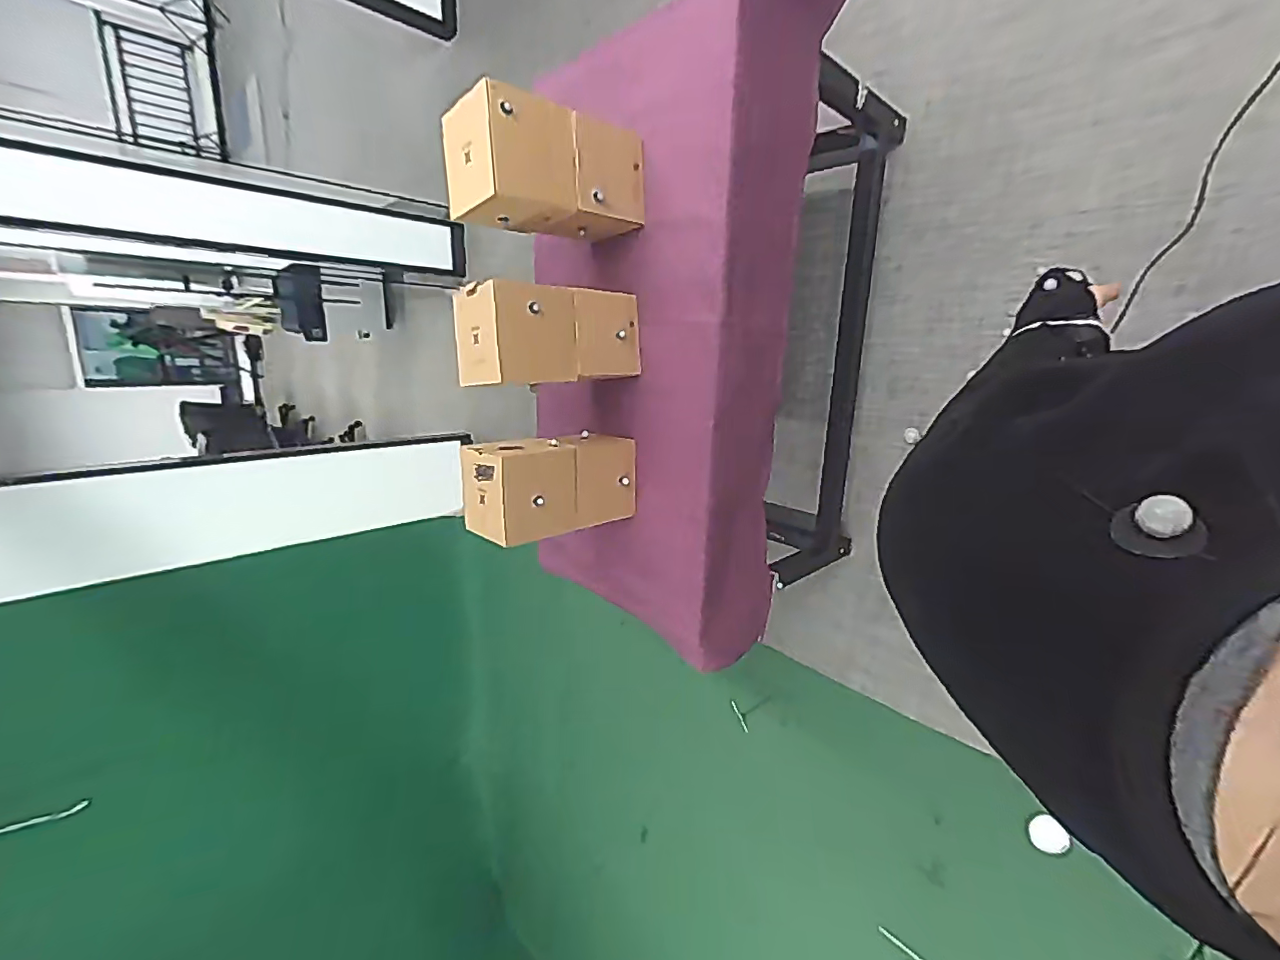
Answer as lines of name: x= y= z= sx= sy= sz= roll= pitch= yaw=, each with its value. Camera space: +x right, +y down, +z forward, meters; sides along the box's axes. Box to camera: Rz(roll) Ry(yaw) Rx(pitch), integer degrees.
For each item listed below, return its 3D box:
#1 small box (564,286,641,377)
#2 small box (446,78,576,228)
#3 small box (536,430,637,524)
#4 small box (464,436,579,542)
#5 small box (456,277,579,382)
small box: x=-0.117 y=-0.308 z=1.154 sx=0.179 sy=0.176 sz=0.168 roll=6 pitch=103 yaw=46
small box: x=-0.228 y=-0.568 z=0.974 sx=0.168 sy=0.176 sz=0.179 roll=7 pitch=103 yaw=46
small box: x=-0.120 y=-0.016 z=1.219 sx=0.168 sy=0.176 sz=0.179 roll=13 pitch=108 yaw=45
small box: x=-0.239 y=0.008 z=1.108 sx=0.168 sy=0.176 sz=0.179 roll=13 pitch=109 yaw=45
small box: x=-0.233 y=-0.280 z=1.042 sx=0.168 sy=0.176 sz=0.179 roll=8 pitch=105 yaw=47
